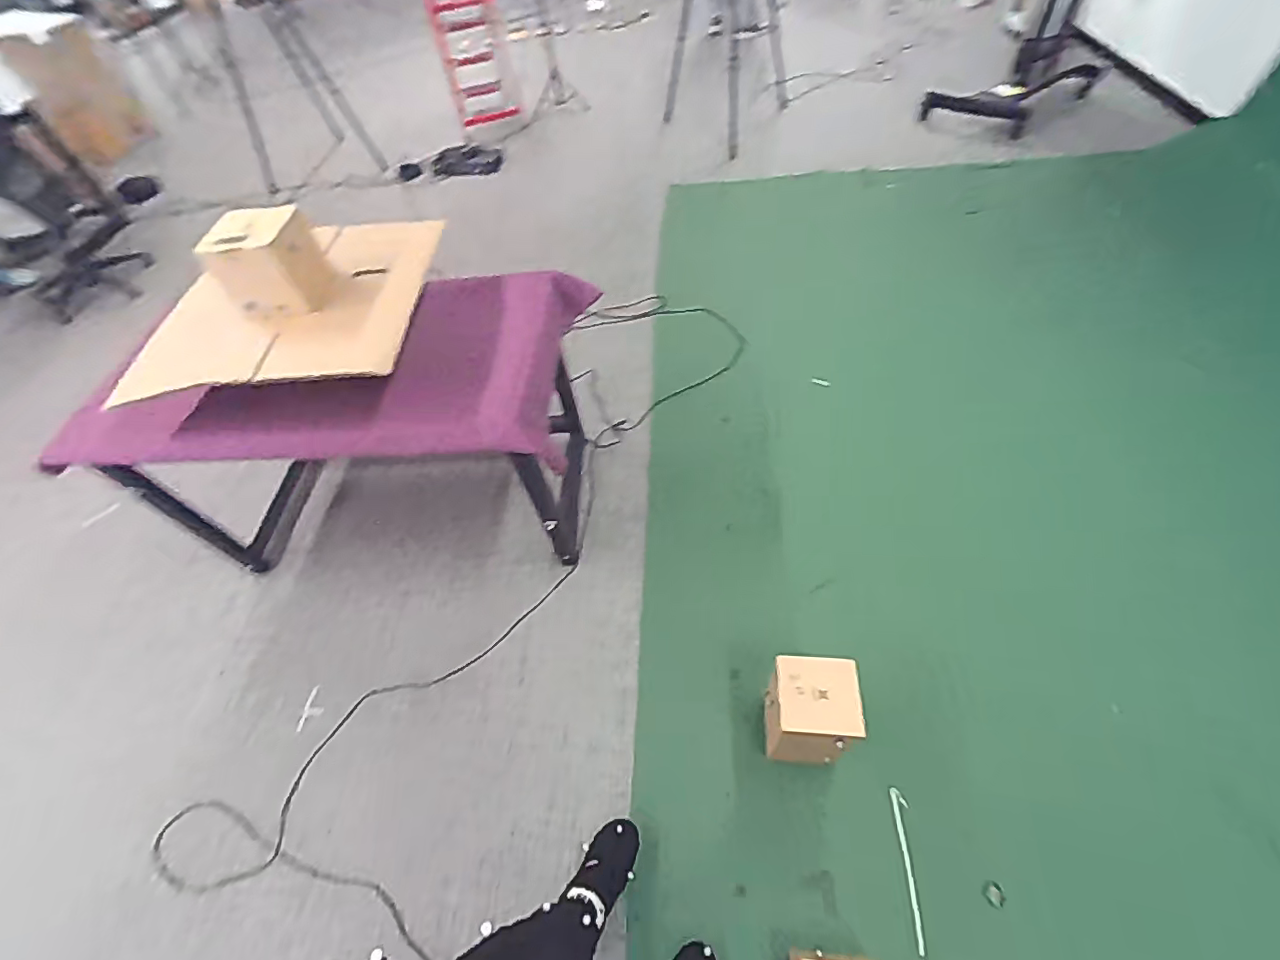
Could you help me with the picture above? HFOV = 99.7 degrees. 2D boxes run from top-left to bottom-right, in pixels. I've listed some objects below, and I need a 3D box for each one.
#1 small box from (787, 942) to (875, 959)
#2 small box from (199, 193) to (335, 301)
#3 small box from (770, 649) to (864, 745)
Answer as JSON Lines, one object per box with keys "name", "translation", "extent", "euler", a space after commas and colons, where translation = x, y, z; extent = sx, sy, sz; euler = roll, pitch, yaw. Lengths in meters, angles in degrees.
{"name": "small box", "translation": [0.394, 1.041, 1.072], "extent": [0.179, 0.176, 0.168], "euler": [1, 55, 8]}
{"name": "small box", "translation": [-0.837, -0.527, 1.238], "extent": [0.168, 0.176, 0.179], "euler": [-2, 54, 3]}
{"name": "small box", "translation": [0.400, 0.505, 1.253], "extent": [0.179, 0.176, 0.168], "euler": [2, 54, 8]}
